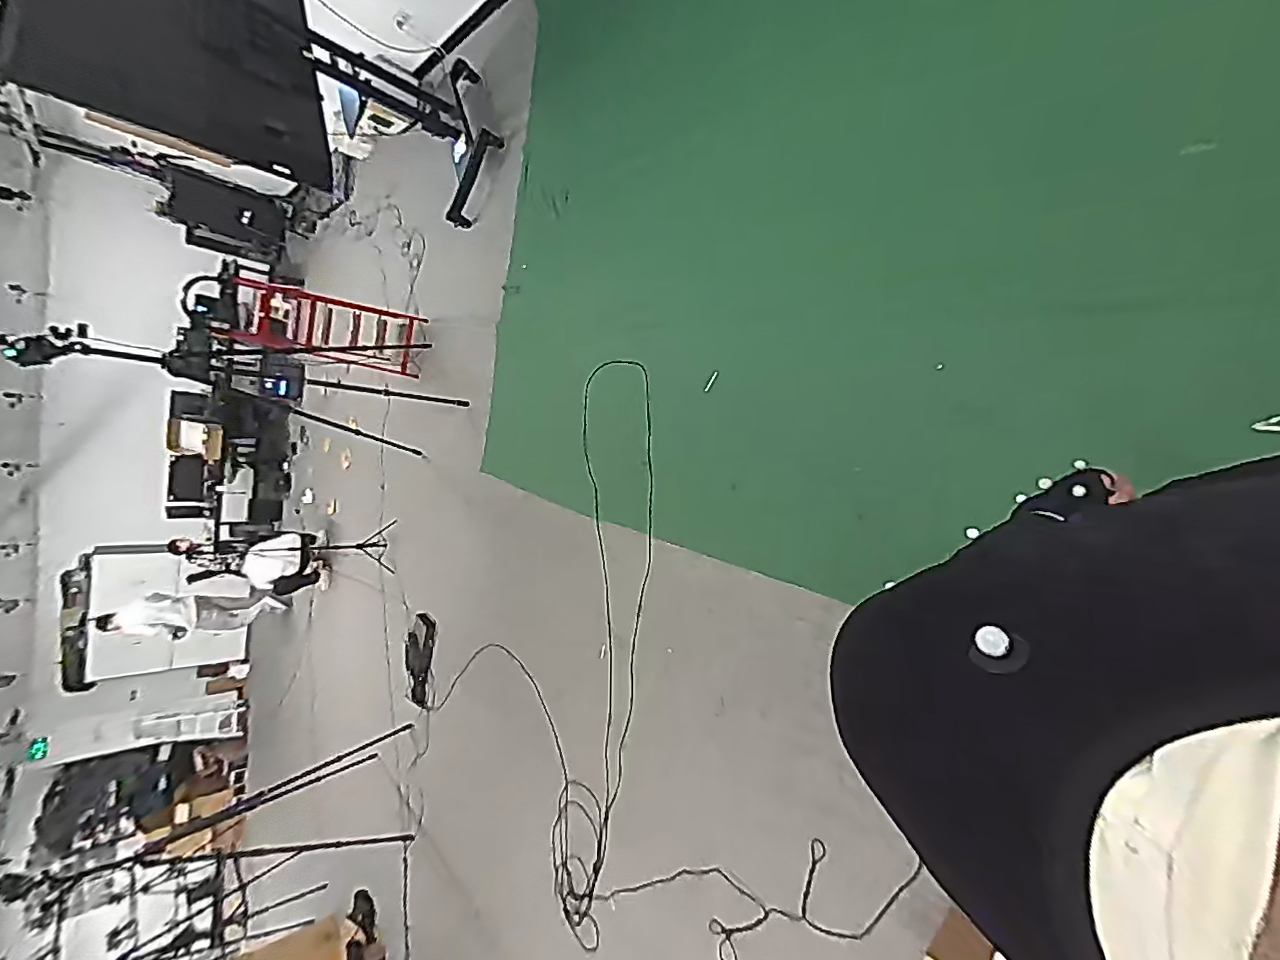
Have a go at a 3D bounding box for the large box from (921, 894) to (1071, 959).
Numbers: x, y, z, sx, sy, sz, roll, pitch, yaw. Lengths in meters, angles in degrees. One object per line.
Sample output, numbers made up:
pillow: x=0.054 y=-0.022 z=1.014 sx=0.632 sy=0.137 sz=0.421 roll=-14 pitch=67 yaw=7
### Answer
large box: x=0.871 y=1.274 z=1.223 sx=0.408 sy=0.320 sz=0.320 roll=13 pitch=97 yaw=45
